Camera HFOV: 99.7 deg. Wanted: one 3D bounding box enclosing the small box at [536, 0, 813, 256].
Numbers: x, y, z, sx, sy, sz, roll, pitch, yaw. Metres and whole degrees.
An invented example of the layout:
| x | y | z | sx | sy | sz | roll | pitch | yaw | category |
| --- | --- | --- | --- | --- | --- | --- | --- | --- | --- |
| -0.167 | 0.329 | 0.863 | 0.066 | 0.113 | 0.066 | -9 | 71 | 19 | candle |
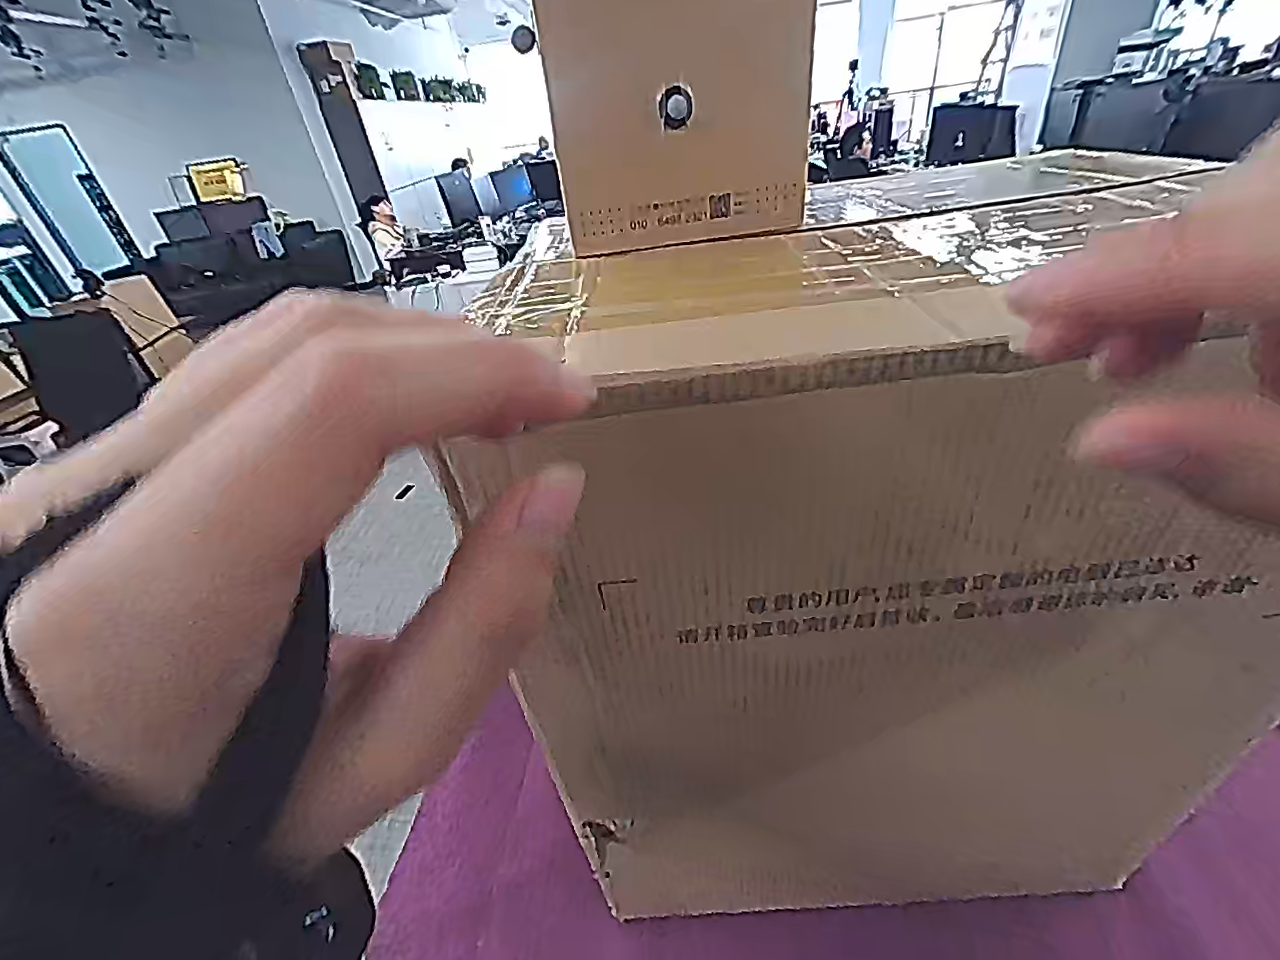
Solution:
| x | y | z | sx | sy | sz | roll | pitch | yaw | category |
| --- | --- | --- | --- | --- | --- | --- | --- | --- | --- |
| 0.021 | -0.274 | 0.403 | 0.168 | 0.176 | 0.179 | -8 | 34 | -2 | small box |
